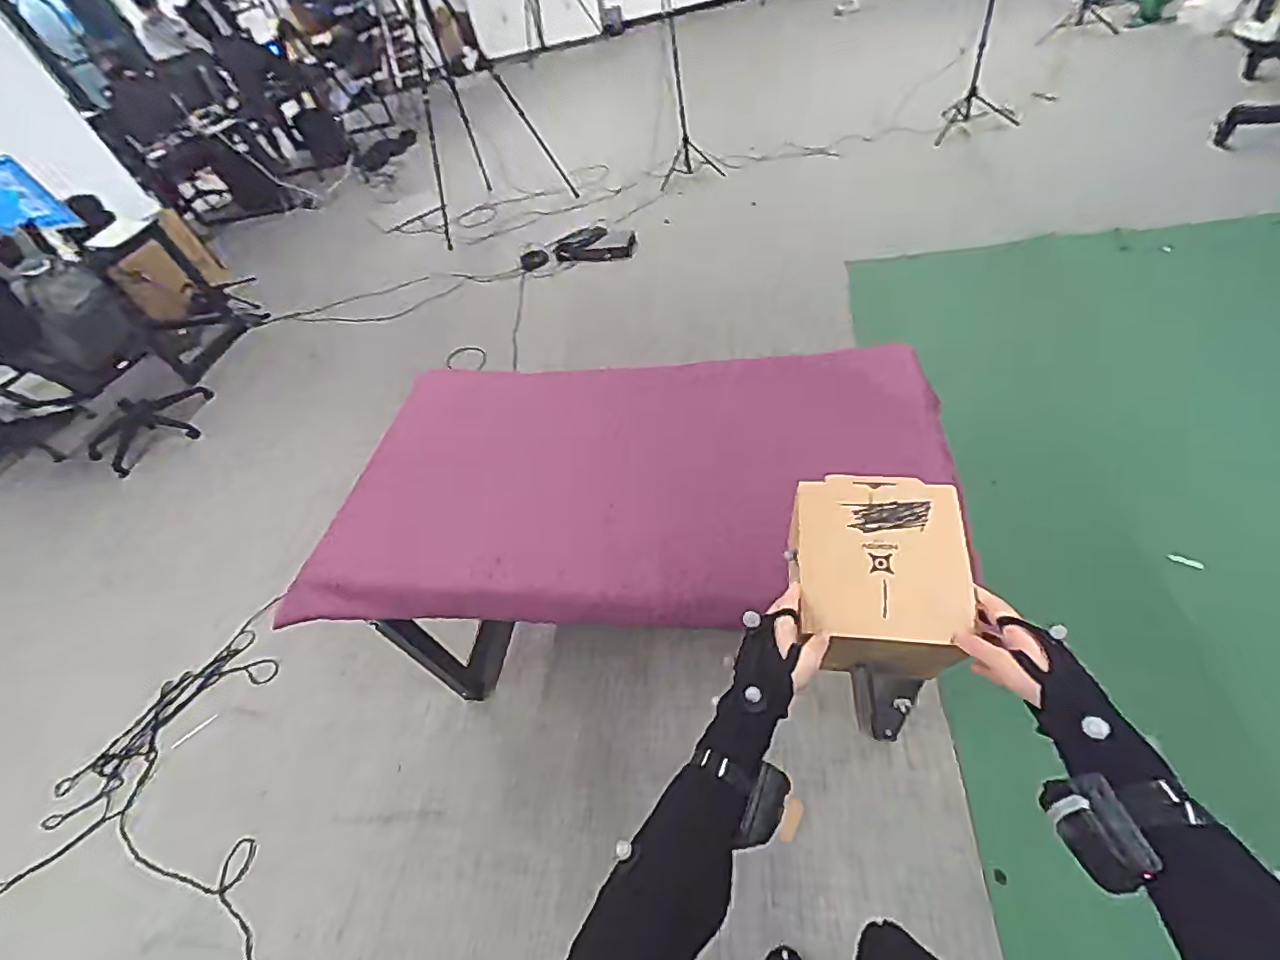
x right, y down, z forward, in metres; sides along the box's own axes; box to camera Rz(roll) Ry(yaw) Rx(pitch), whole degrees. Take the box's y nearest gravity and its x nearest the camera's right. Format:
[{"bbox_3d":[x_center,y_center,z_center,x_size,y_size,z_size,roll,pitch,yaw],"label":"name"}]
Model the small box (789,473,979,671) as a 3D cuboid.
[{"bbox_3d":[0.264,0.110,0.632,0.168,0.176,0.179,1,61,13],"label":"small box"}]
